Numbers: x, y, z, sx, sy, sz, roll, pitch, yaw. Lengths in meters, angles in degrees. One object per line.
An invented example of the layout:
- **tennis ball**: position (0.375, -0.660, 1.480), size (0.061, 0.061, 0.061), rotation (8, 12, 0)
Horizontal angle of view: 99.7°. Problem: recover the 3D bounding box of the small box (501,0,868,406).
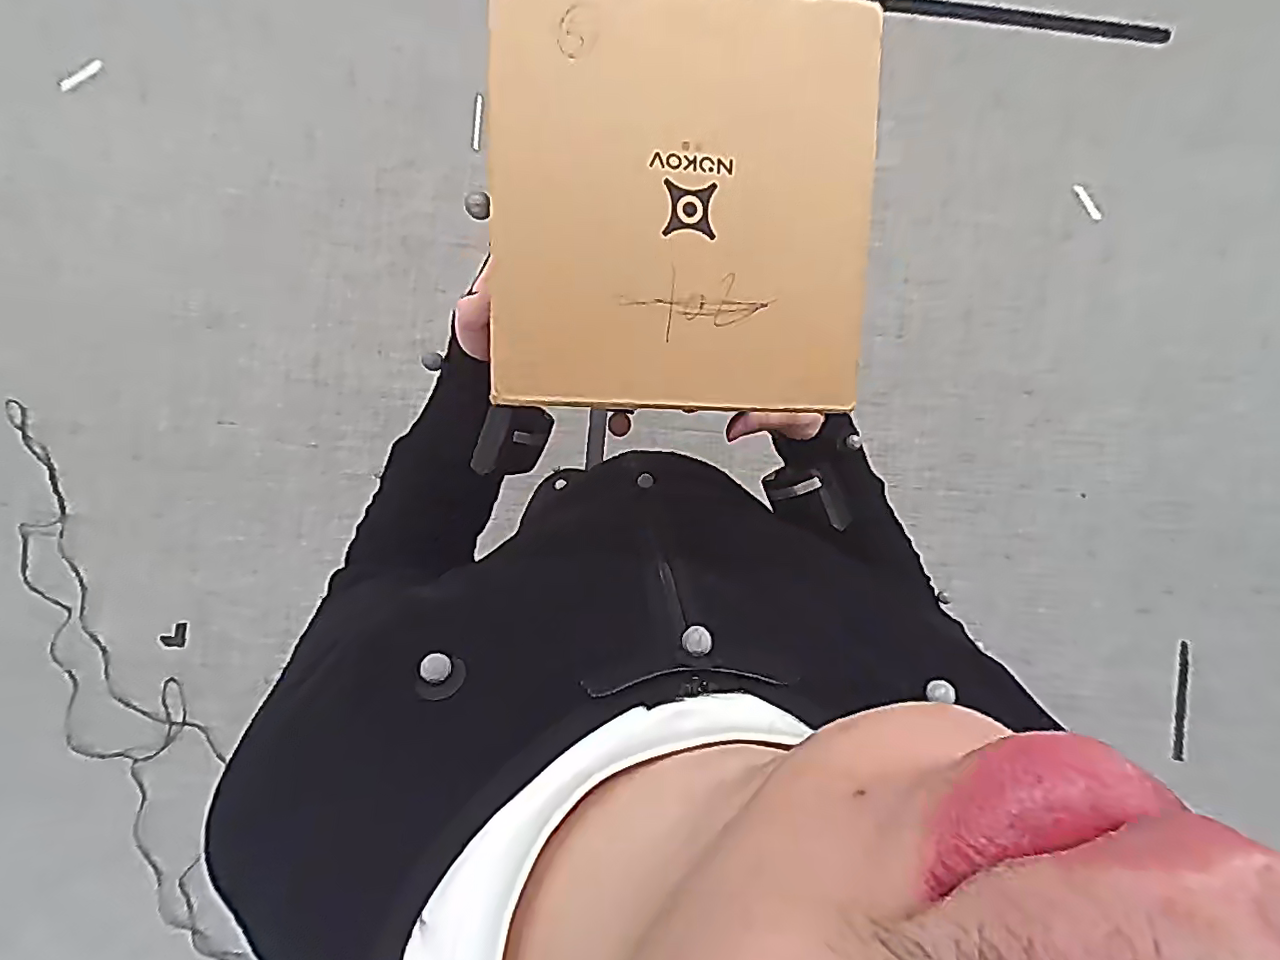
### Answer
- **small box**: position (0.008, -0.135, 0.319), size (0.168, 0.176, 0.179), rotation (0, 98, -9)
